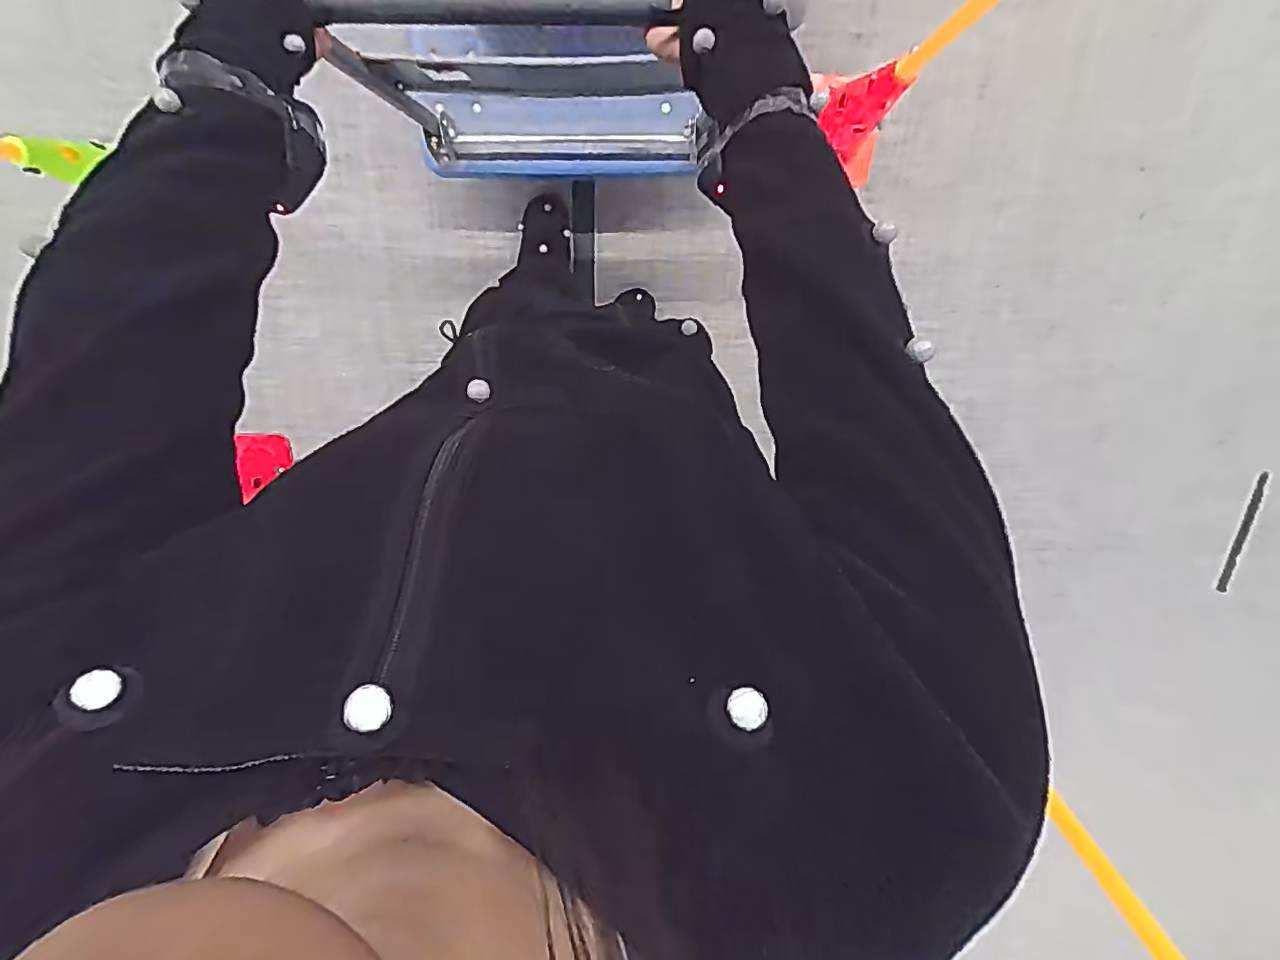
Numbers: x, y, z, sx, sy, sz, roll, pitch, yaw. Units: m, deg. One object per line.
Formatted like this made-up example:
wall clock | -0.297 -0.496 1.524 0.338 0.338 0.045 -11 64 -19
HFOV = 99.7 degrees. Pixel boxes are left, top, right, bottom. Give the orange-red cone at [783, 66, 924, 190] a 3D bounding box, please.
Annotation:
orange-red cone | 0.428 -0.692 1.013 0.199 0.360 0.198 7 110 -4
